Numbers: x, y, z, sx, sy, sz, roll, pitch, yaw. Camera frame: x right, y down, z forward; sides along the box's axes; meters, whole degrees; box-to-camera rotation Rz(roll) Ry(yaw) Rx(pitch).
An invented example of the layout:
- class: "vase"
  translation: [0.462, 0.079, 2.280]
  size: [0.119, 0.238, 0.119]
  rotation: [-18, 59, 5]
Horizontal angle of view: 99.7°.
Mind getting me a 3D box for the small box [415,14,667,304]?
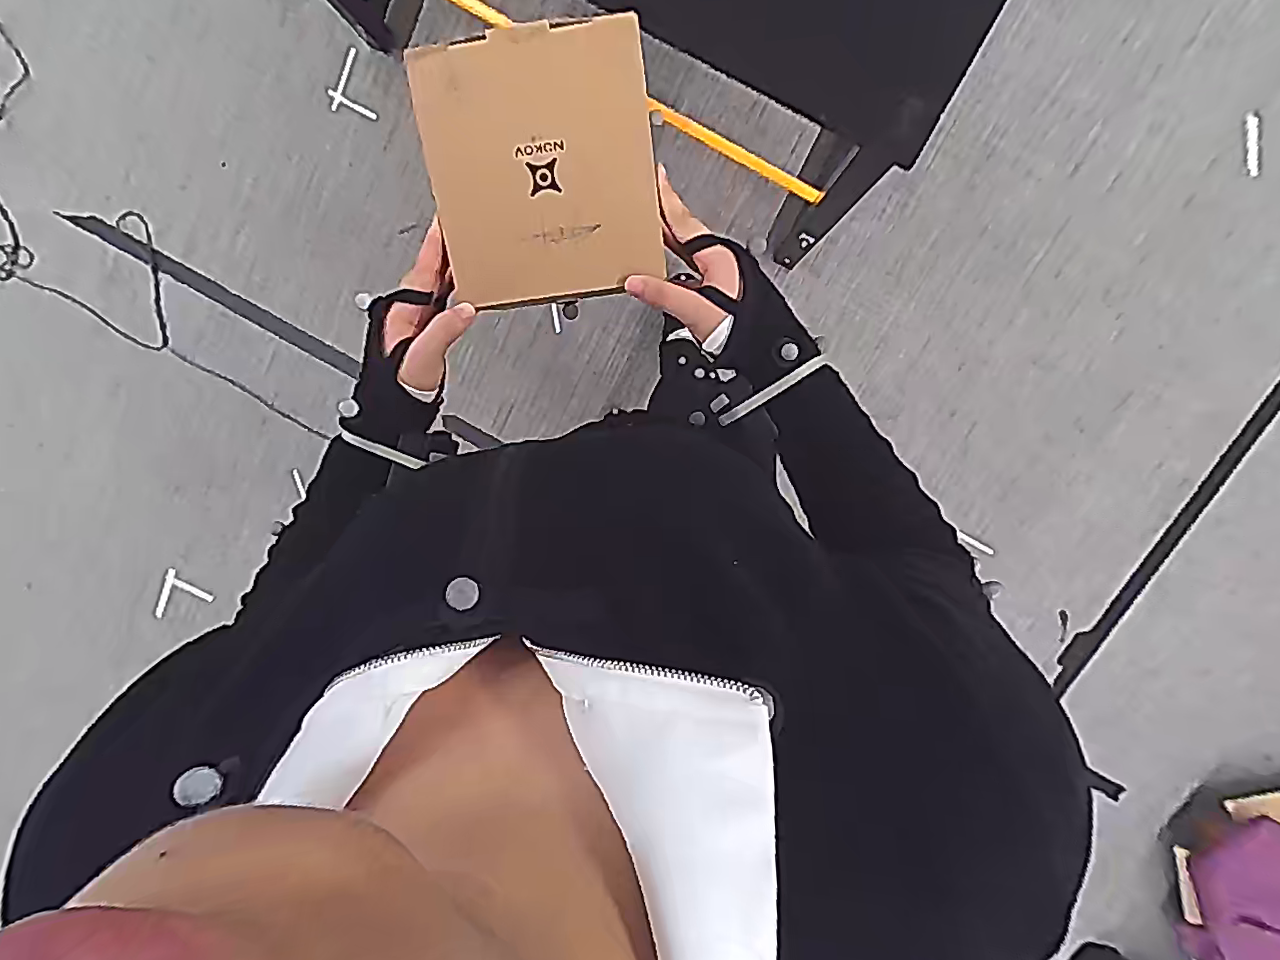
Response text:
- class: "small box"
  translation: [-0.070, -0.257, 0.479]
  size: [0.168, 0.176, 0.179]
  rotation: [-7, 108, 2]
